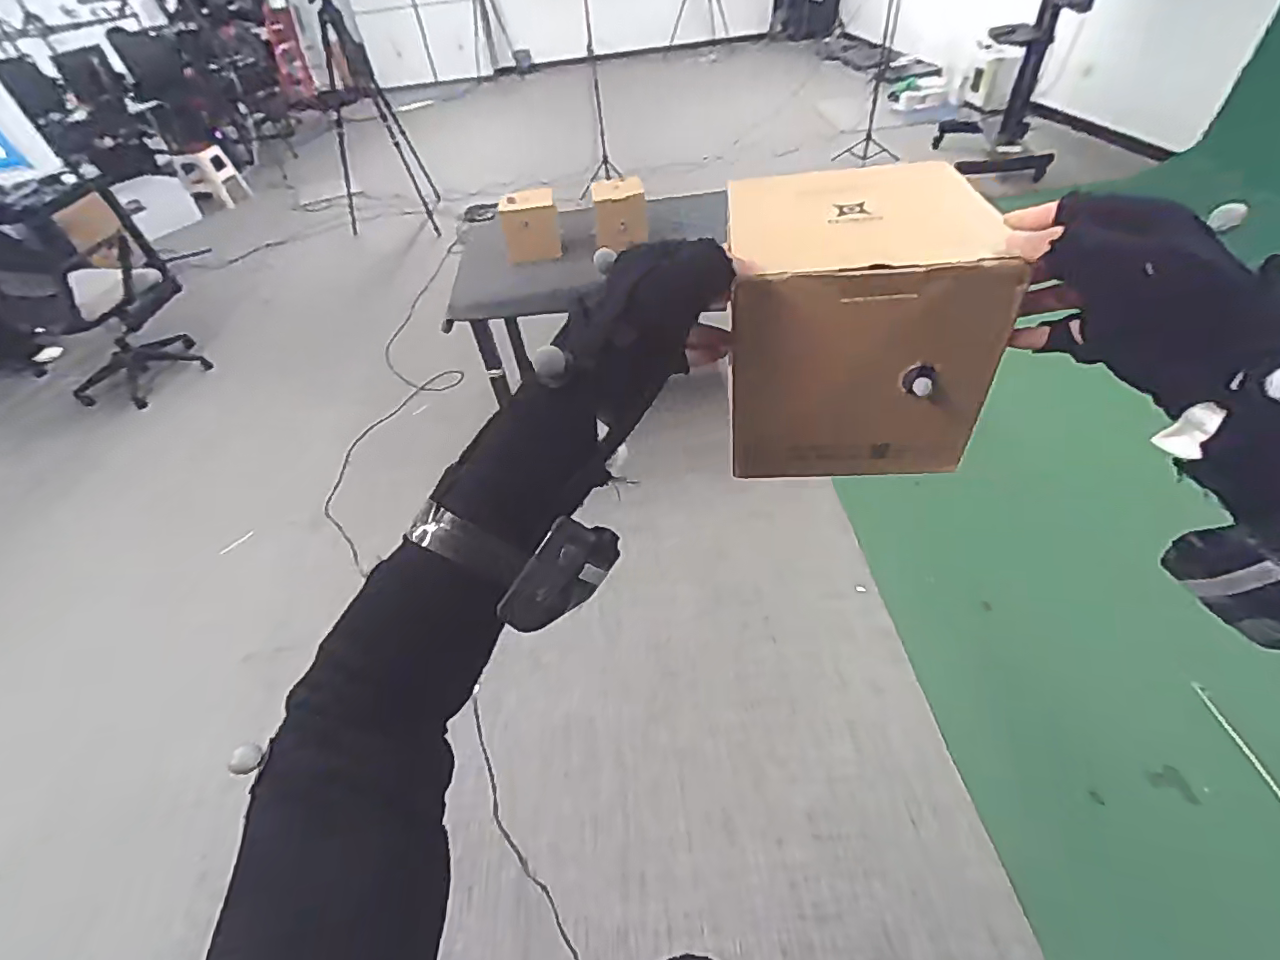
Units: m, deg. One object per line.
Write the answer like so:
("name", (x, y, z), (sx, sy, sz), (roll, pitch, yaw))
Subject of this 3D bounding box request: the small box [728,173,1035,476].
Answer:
("small box", (0.155, -0.115, 0.422), (0.168, 0.176, 0.179), (-1, 44, 7))

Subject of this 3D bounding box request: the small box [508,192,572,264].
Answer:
("small box", (-0.329, -0.834, 1.795), (0.179, 0.176, 0.168), (-8, 45, -2))

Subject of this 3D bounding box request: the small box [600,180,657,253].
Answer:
("small box", (-0.037, -0.868, 1.793), (0.168, 0.176, 0.179), (-7, 46, 0))
